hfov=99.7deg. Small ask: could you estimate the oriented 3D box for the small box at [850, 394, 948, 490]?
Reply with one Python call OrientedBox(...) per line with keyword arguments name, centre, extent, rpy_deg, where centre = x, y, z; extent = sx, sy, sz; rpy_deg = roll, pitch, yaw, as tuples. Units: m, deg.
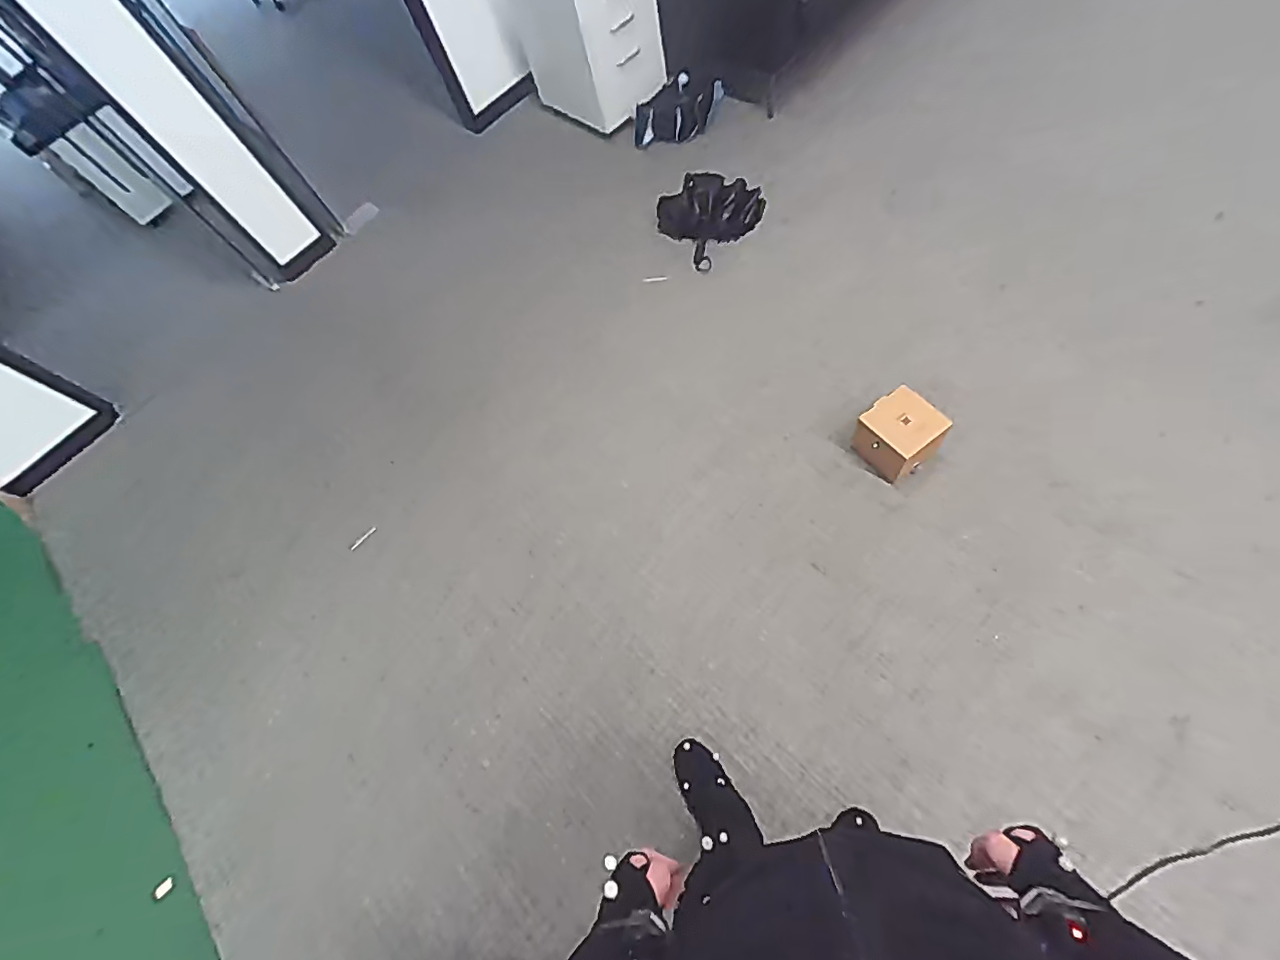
OrientedBox(name="small box", centre=(0.727, -0.104, 1.545), extent=(0.168, 0.176, 0.179), rpy_deg=(-37, 63, -6))
